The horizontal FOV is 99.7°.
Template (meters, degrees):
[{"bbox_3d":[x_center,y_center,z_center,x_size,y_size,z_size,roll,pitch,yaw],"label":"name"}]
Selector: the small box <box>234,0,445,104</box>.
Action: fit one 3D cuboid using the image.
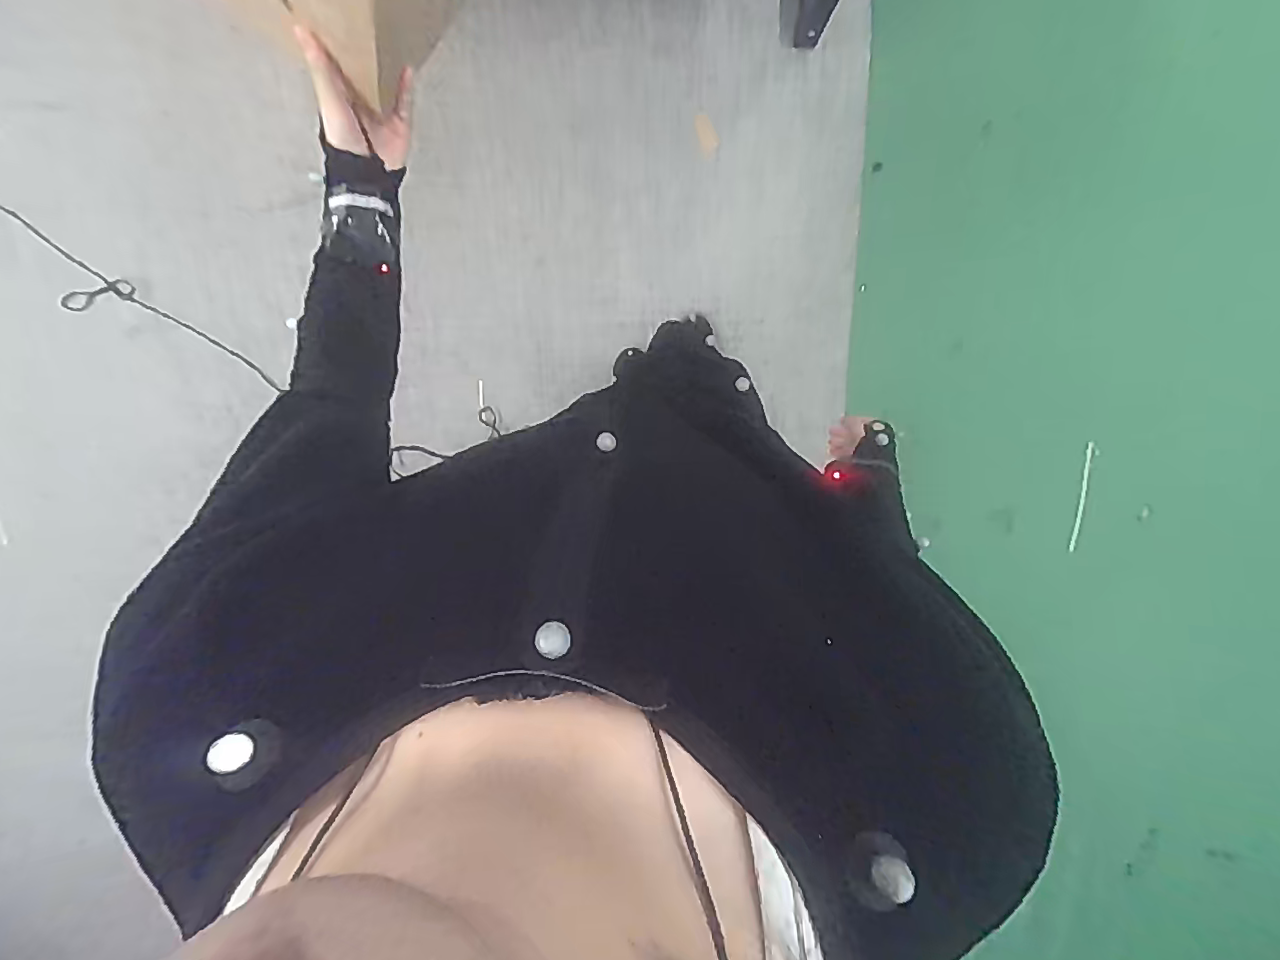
[{"bbox_3d":[-0.234,-0.445,0.395,0.179,0.168,0.176,31,80,-24],"label":"small box"}]
